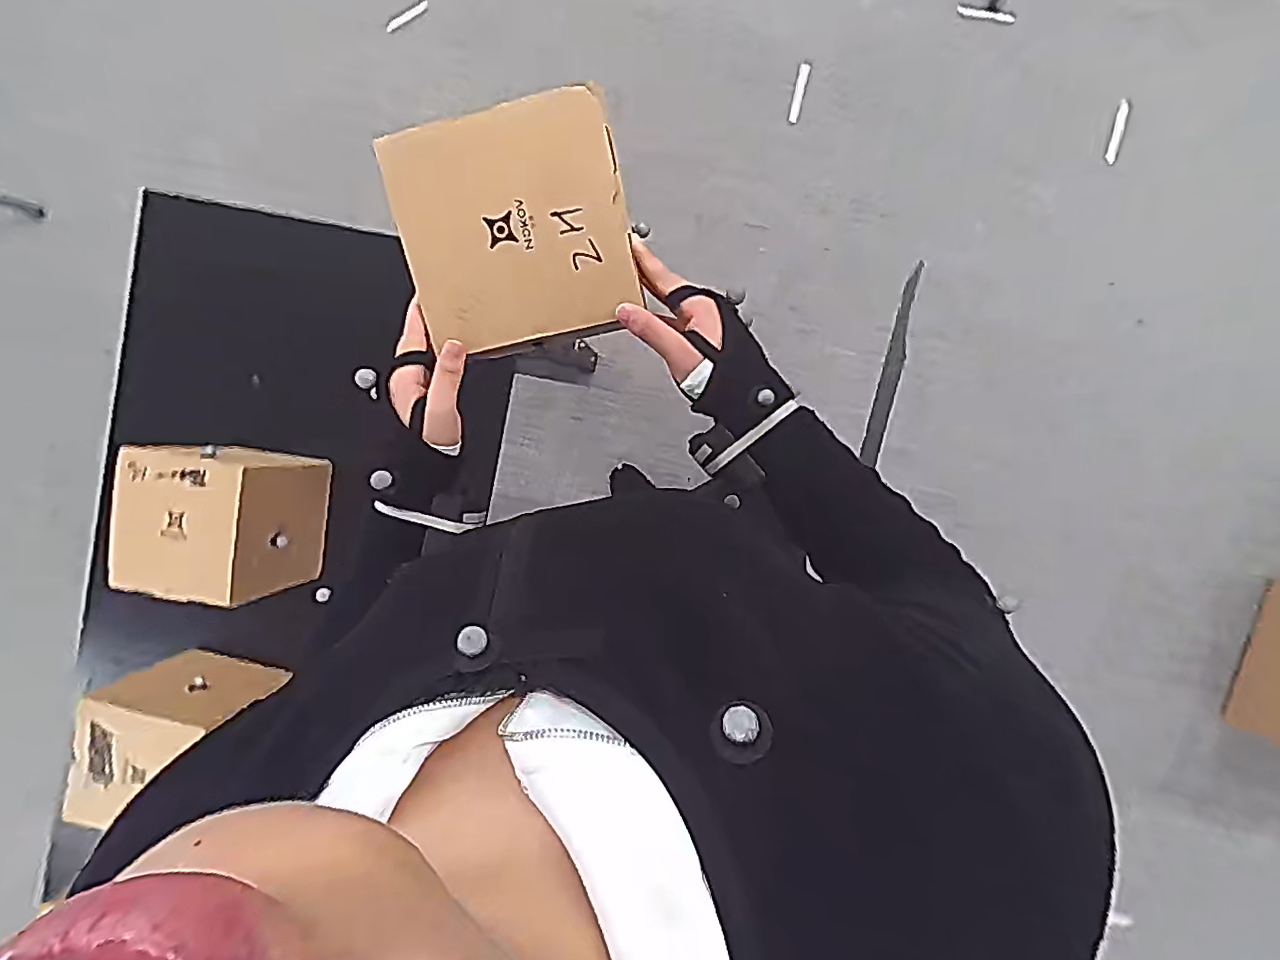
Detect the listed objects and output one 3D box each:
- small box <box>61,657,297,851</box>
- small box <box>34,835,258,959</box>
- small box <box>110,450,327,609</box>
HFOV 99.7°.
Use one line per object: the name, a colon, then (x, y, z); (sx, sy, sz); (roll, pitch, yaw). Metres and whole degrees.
small box: (-0.630, 0.366, 0.758); (0.179, 0.176, 0.168); (11, 94, 3)
small box: (-0.696, 0.645, 0.776); (0.179, 0.176, 0.168); (10, 92, 4)
small box: (-0.560, 0.056, 0.738); (0.168, 0.176, 0.179); (8, 94, 4)
